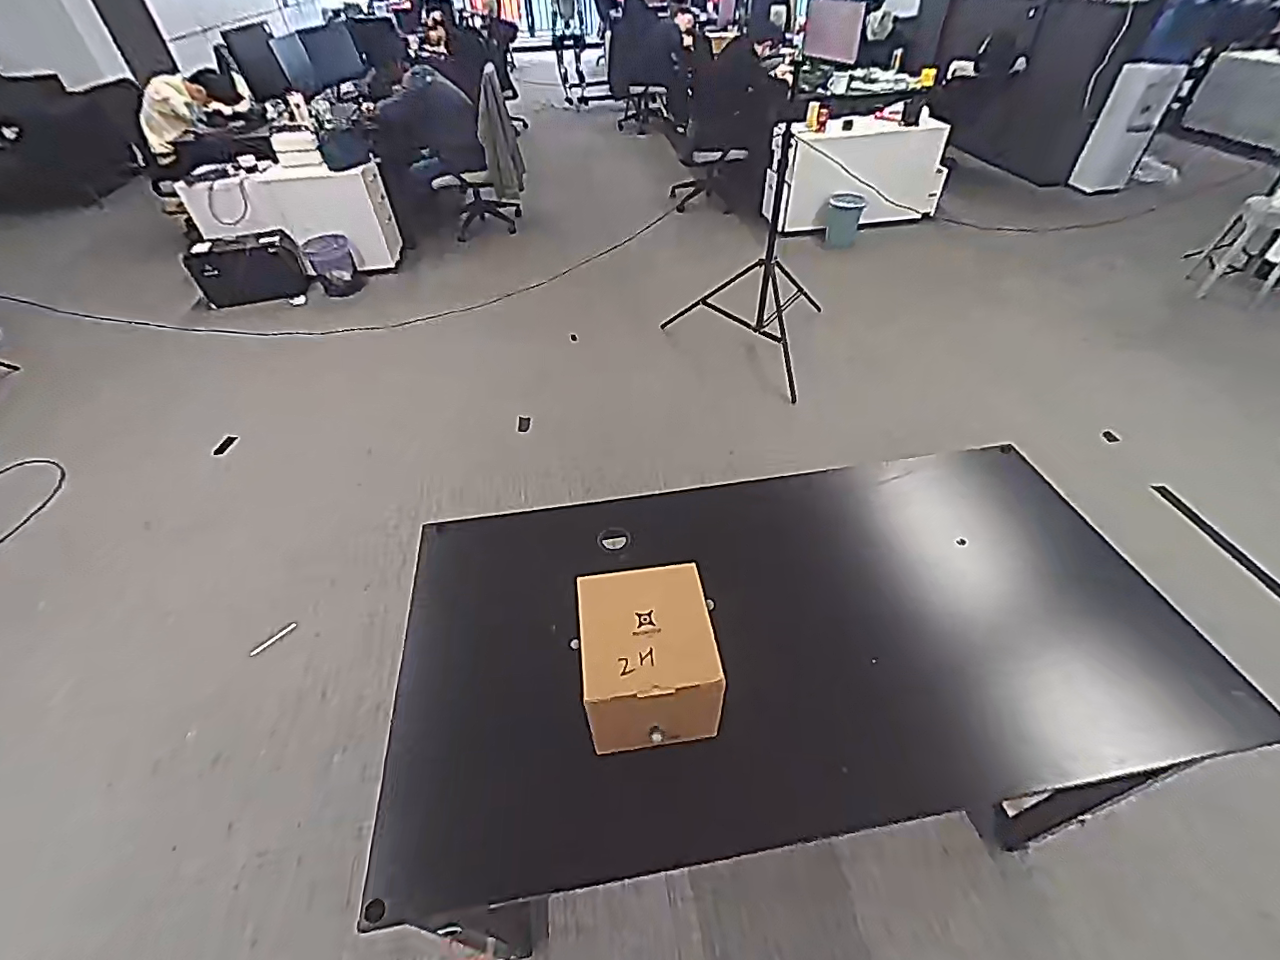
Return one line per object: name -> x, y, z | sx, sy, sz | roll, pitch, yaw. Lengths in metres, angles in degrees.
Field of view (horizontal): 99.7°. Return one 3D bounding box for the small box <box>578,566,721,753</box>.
small box -> 0.007, 0.244, 0.739 | 0.168, 0.176, 0.179 | -7, 45, -4
